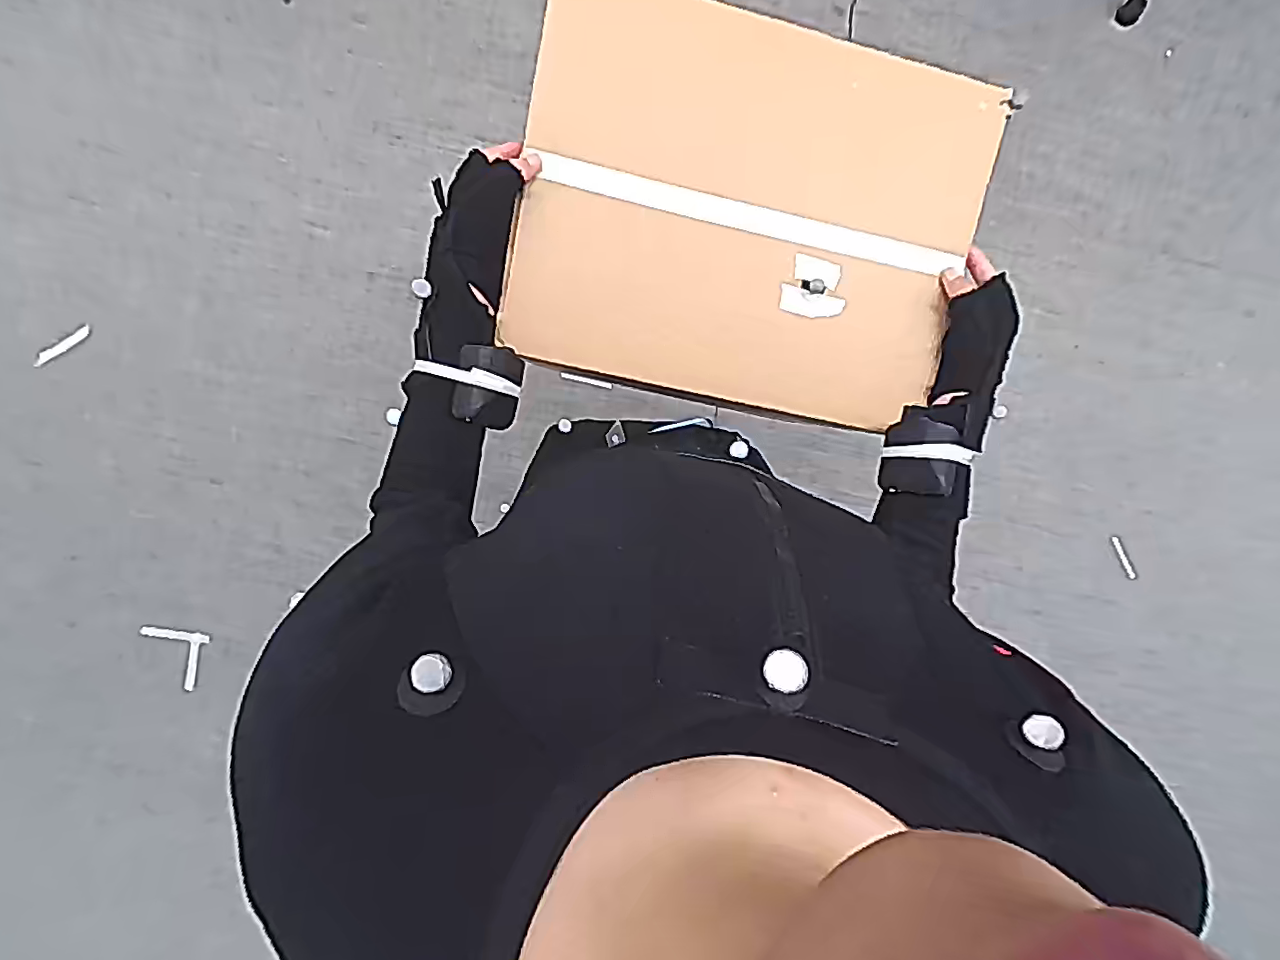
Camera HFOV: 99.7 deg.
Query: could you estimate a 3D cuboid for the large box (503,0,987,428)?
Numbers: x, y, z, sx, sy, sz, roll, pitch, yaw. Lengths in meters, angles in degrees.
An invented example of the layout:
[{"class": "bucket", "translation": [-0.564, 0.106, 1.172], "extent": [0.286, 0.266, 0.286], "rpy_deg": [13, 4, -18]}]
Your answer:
[{"class": "large box", "translation": [0.080, -0.256, 0.633], "extent": [0.408, 0.320, 0.320], "rpy_deg": [11, 99, -8]}]
